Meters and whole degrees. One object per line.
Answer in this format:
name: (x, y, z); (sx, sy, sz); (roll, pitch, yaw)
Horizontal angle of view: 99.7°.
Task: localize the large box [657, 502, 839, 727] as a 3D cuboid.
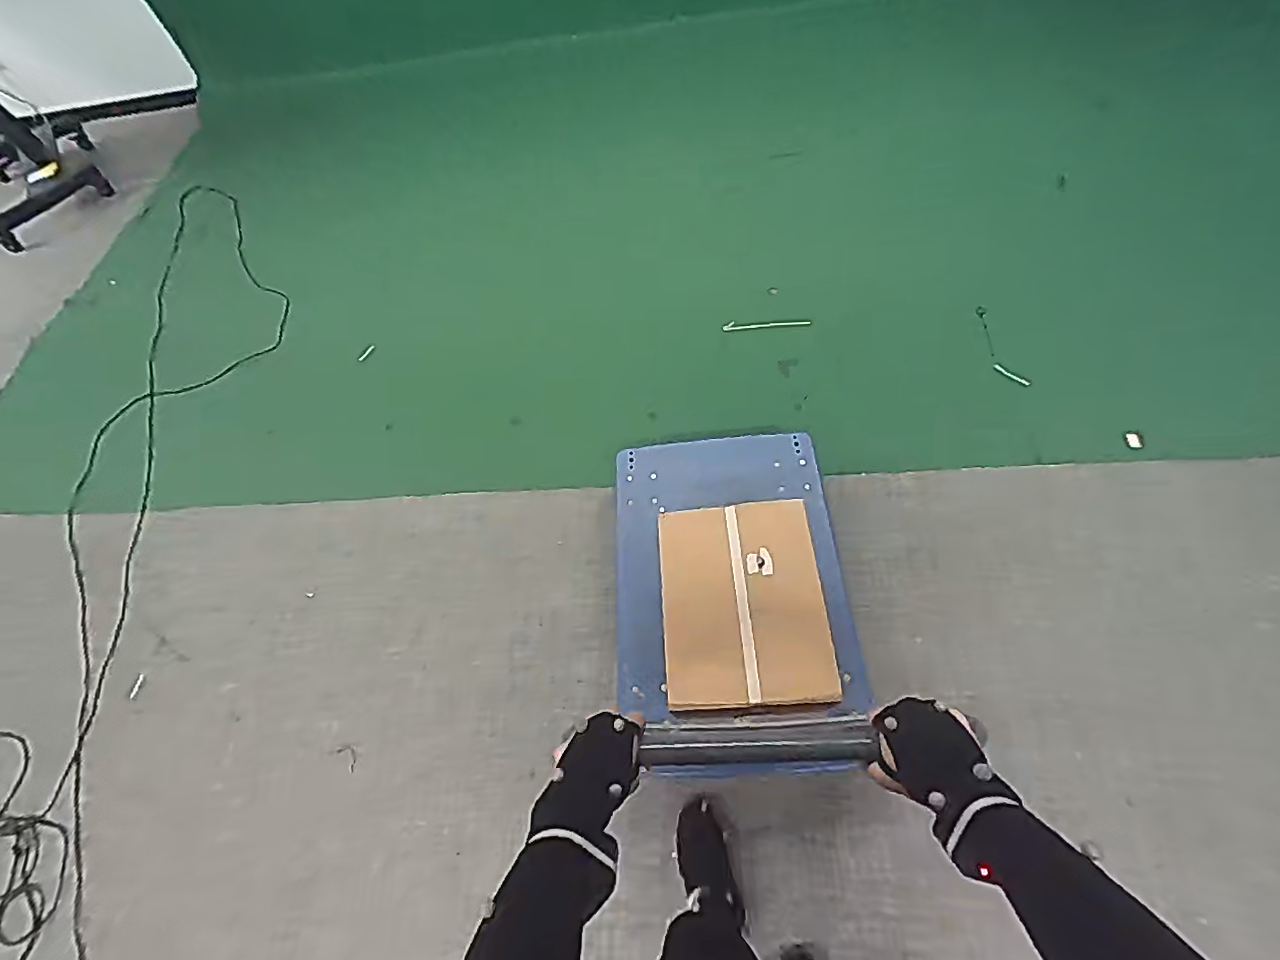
large box: (0.223, 0.309, 1.207); (0.320, 0.320, 0.408); (-6, 60, 7)
